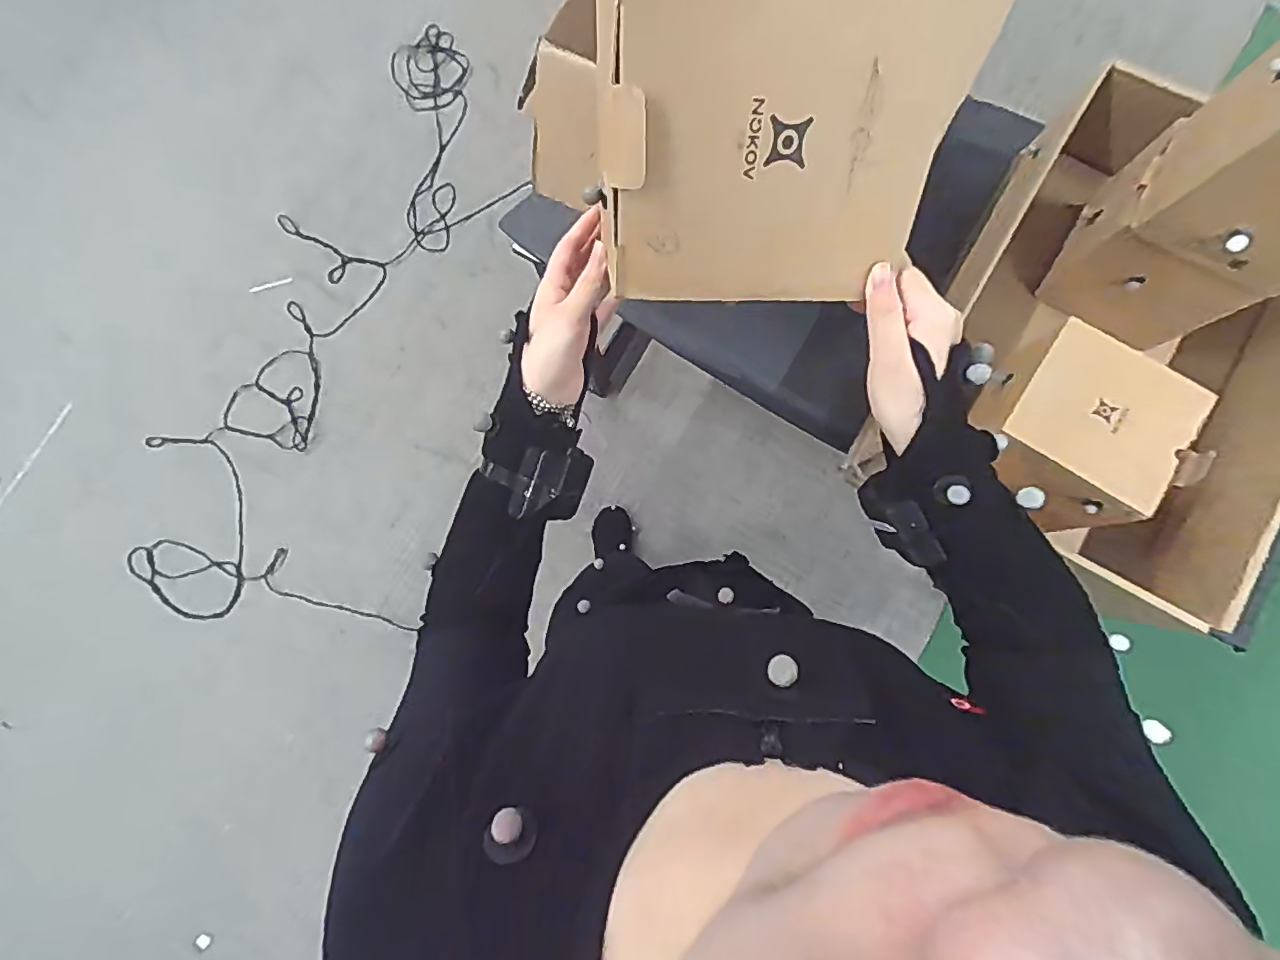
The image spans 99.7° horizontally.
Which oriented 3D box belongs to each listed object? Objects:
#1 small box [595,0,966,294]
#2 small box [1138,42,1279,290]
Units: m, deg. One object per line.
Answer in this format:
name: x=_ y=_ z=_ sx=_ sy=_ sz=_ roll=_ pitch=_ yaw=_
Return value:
small box: x=0.060 y=-0.229 z=0.349 sx=0.179 sy=0.168 sz=0.176 roll=-3 pitch=38 yaw=-7
small box: x=0.667 y=-0.331 z=0.540 sx=0.168 sy=0.176 sz=0.179 roll=30 pitch=85 yaw=6
